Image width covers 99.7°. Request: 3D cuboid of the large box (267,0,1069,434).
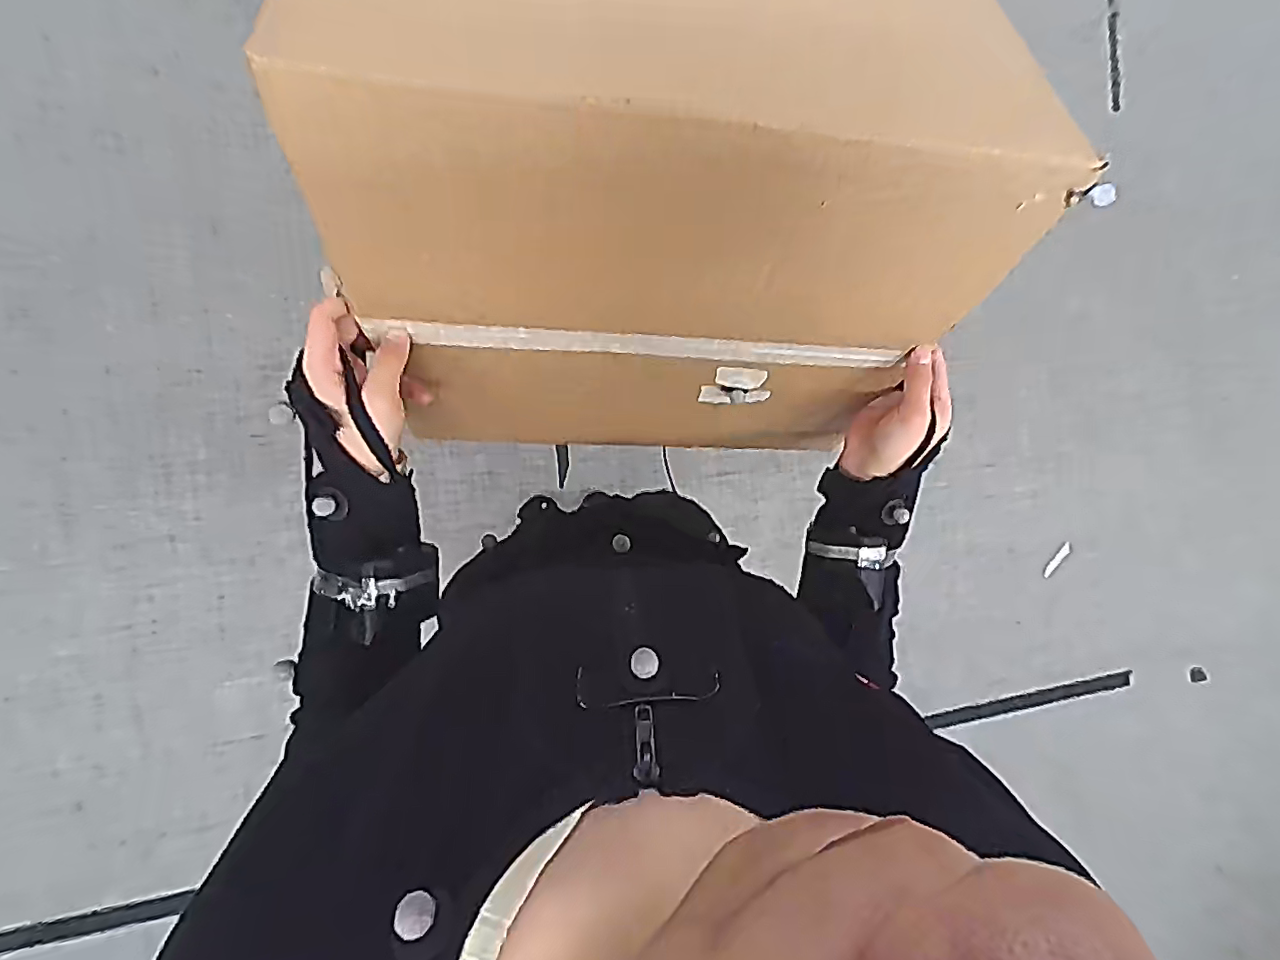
[{"bbox_3d":[0.002,-0.245,0.454,0.408,0.320,0.320,0,66,-9],"label":"large box"}]
